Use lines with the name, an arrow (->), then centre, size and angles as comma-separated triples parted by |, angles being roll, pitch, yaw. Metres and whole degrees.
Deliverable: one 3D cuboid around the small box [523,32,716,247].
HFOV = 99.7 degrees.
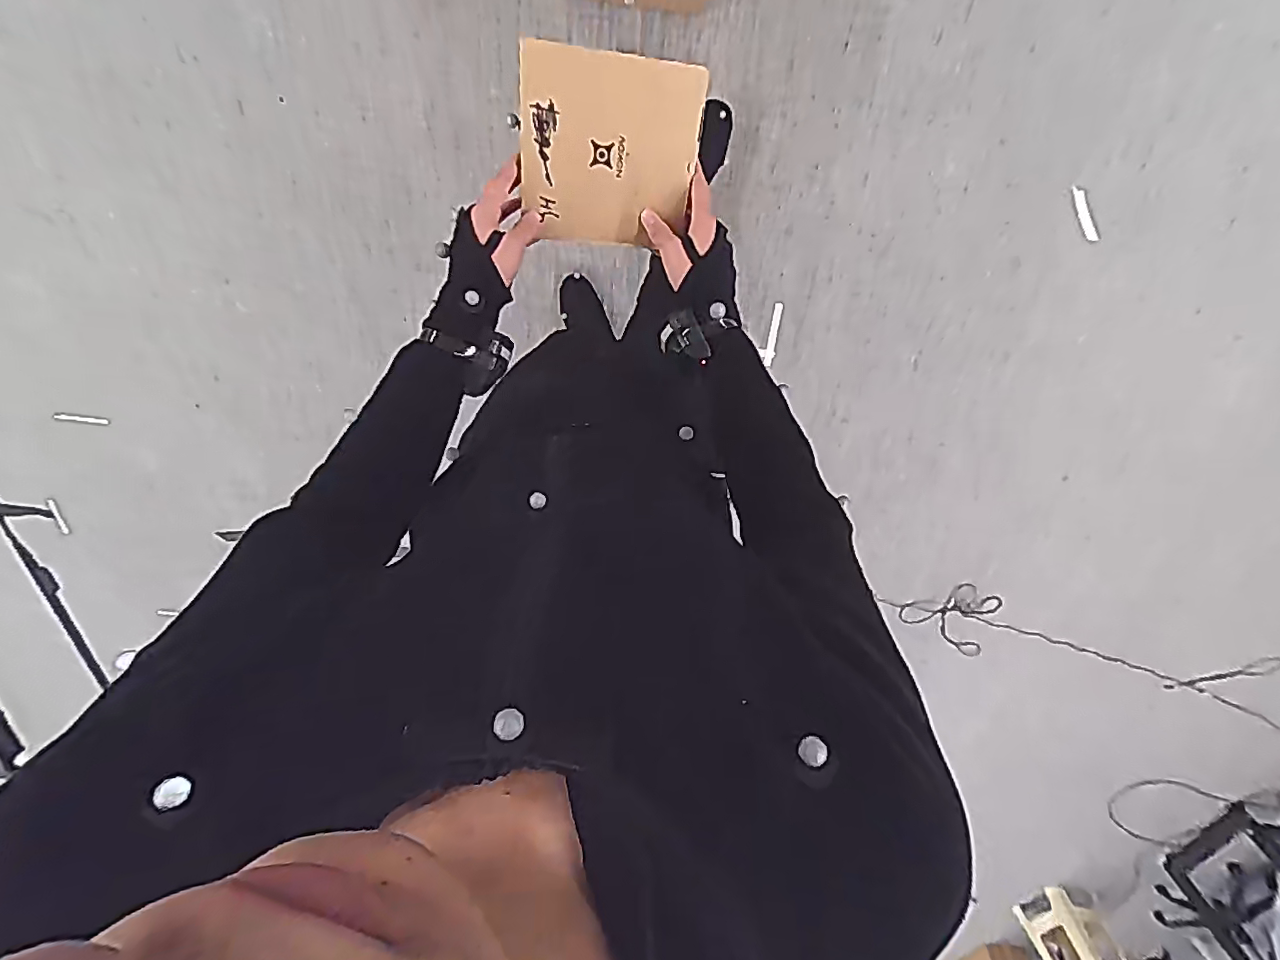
small box -> -0.037, -0.369, 0.590 | 0.179, 0.176, 0.168 | 1, 127, -11
